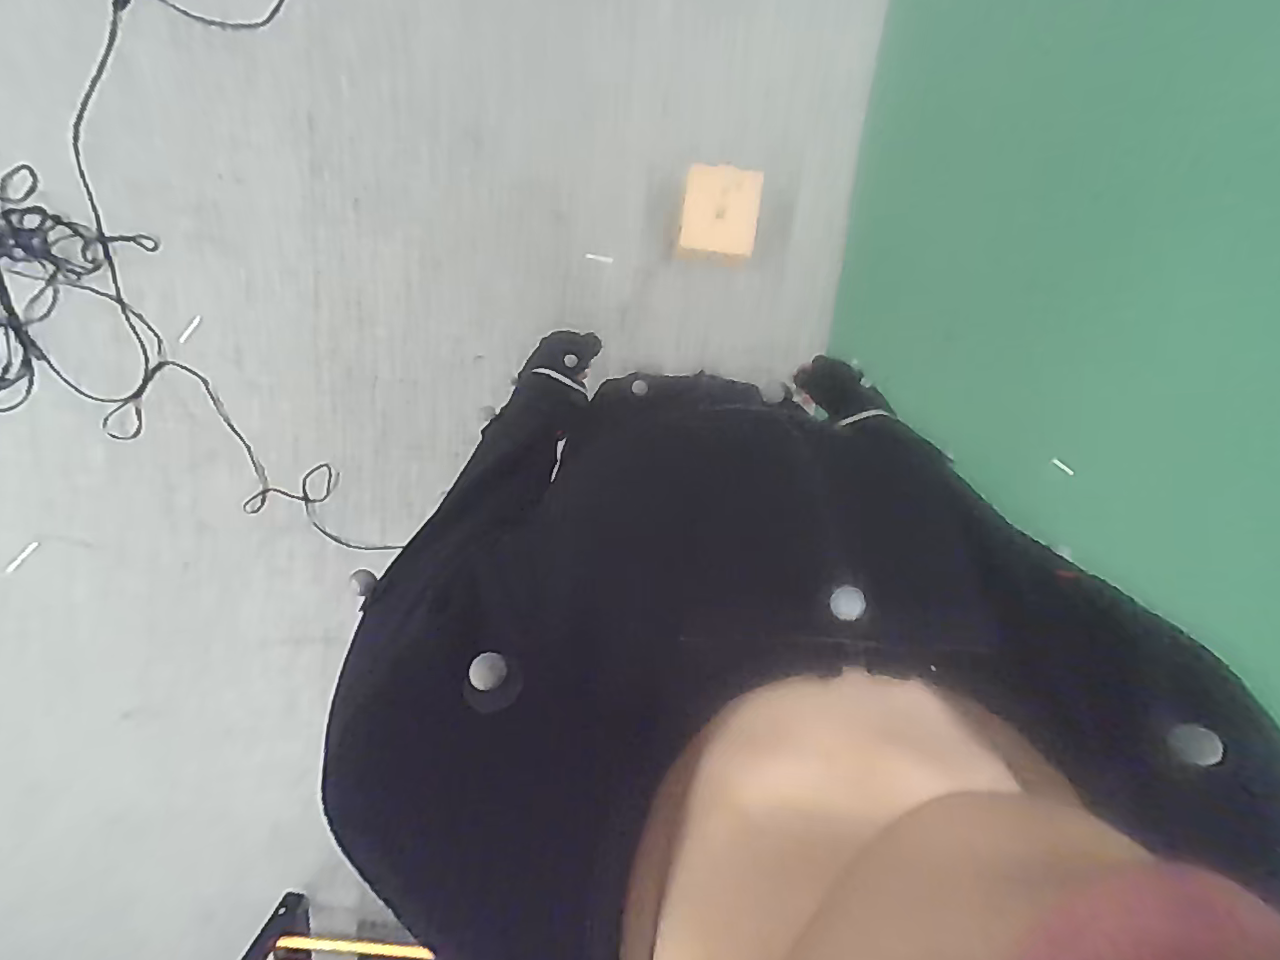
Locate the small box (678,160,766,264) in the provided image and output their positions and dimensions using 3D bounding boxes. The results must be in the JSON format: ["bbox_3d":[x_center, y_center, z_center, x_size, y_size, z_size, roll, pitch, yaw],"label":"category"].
[{"bbox_3d":[0.182,-0.612,1.257,0.168,0.176,0.179,7,103,-1],"label":"small box"}]
